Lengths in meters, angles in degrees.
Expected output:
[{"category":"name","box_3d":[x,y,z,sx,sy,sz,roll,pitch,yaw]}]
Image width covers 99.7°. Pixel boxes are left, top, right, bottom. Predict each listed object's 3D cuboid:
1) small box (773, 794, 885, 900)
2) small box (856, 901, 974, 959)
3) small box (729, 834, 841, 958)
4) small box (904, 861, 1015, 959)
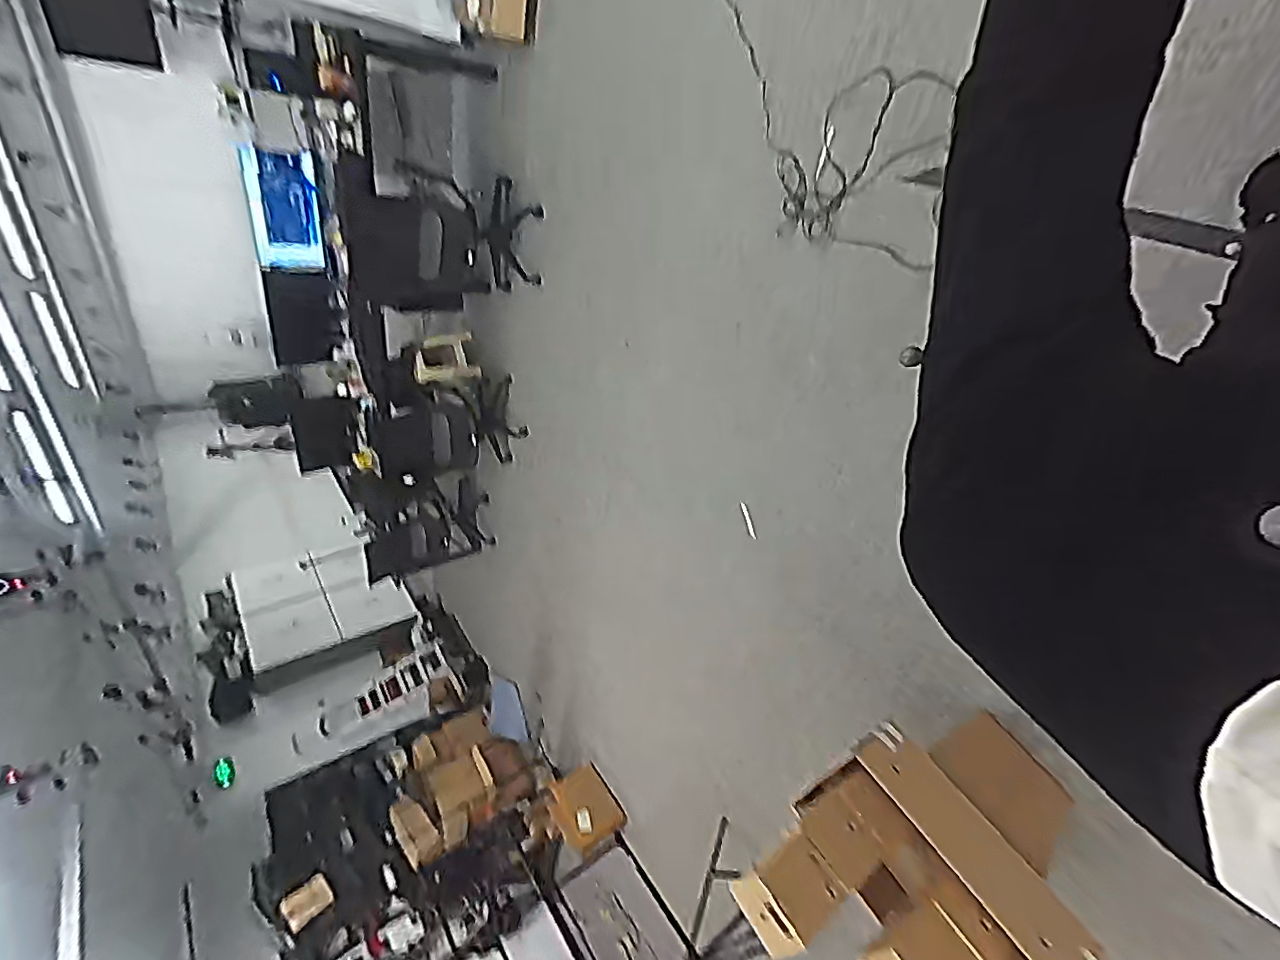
[{"category":"small box","box_3d":[0.486,0.950,1.395,0.179,0.176,0.168,48,137,33]},{"category":"small box","box_3d":[0.651,1.132,1.251,0.179,0.176,0.168,49,138,31]},{"category":"small box","box_3d":[0.354,0.999,1.308,0.168,0.176,0.179,50,139,29]},{"category":"small box","box_3d":[0.784,1.091,1.339,0.168,0.176,0.179,48,138,32]}]
